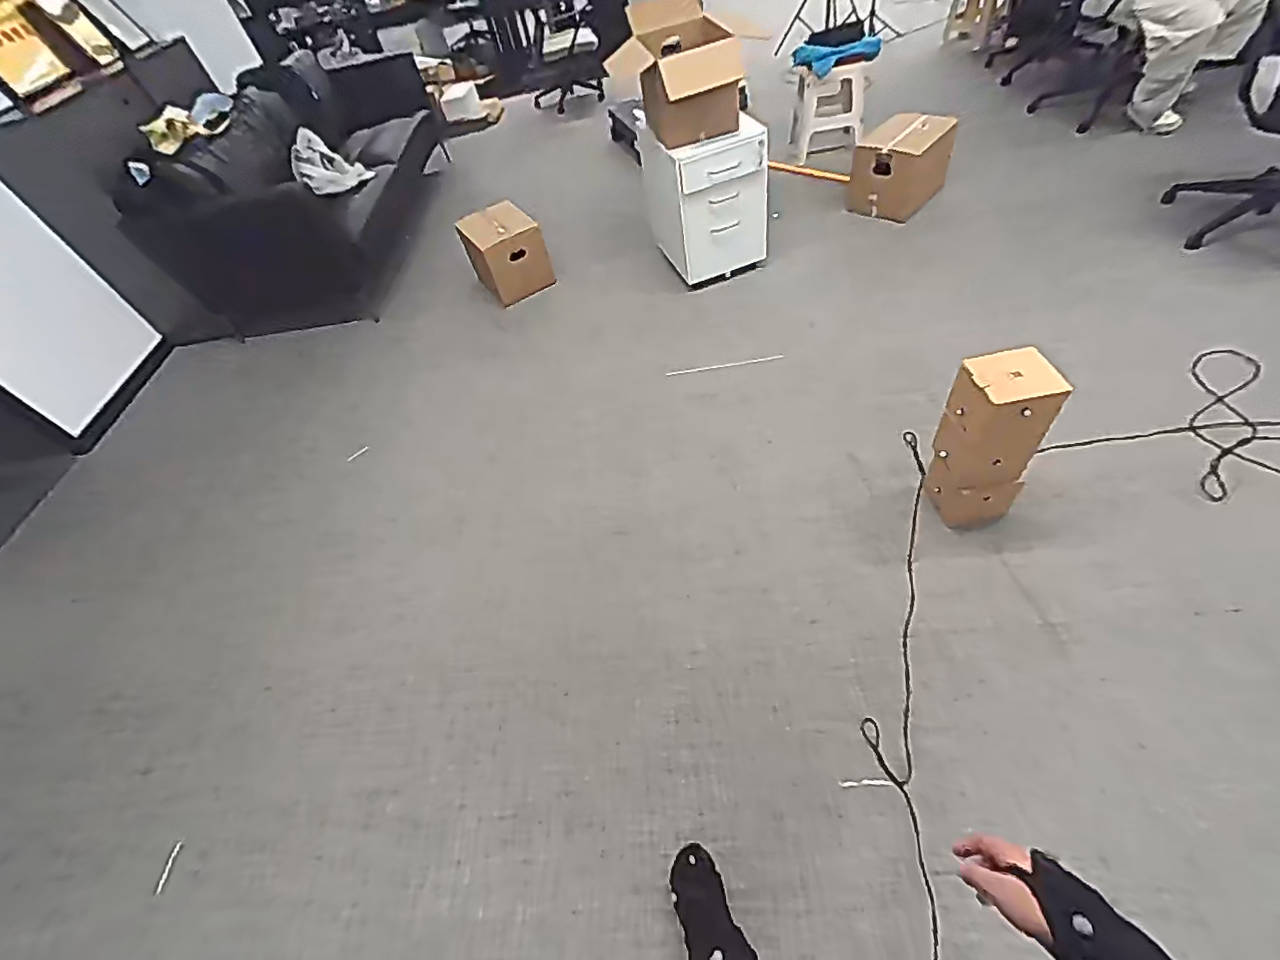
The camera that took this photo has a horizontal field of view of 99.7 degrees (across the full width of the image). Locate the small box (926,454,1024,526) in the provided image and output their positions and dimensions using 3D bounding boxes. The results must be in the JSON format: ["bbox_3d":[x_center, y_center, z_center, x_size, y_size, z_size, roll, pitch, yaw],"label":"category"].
[{"bbox_3d":[0.963,0.014,1.580,0.179,0.176,0.168,-13,50,2],"label":"small box"}]

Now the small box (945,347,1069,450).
[{"bbox_3d":[0.896,-0.198,1.341,0.179,0.176,0.168,-12,49,5],"label":"small box"}]

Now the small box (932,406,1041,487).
[{"bbox_3d":[0.929,-0.101,1.468,0.179,0.176,0.168,-11,49,6],"label":"small box"}]
